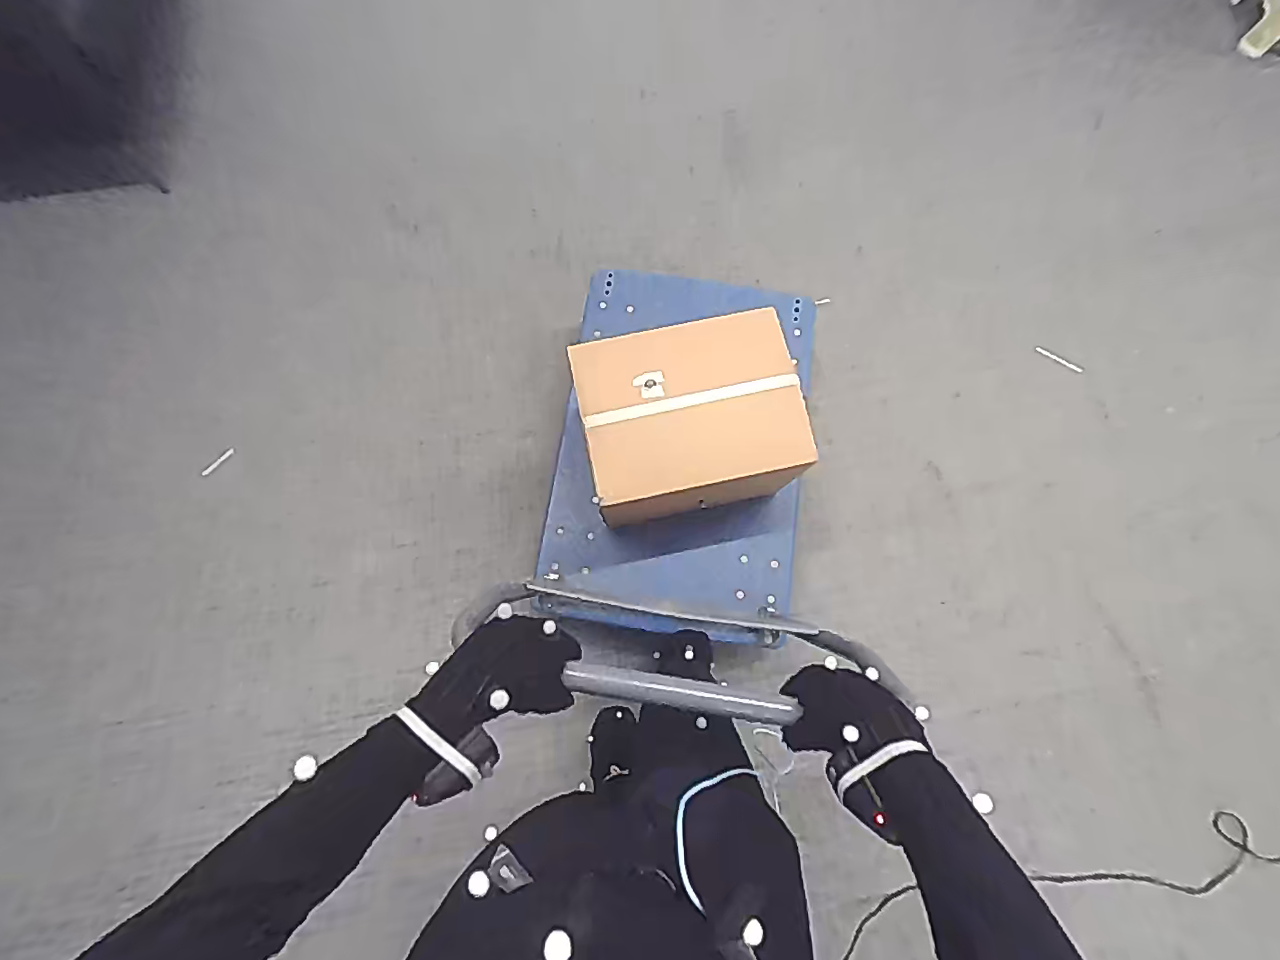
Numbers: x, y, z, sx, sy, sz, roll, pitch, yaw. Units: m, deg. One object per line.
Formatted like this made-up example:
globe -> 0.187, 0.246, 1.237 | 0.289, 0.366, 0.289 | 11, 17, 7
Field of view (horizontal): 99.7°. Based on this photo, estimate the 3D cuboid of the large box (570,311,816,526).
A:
large box -> 0.096, -0.108, 1.146 | 0.408, 0.320, 0.320 | -13, 78, -2
